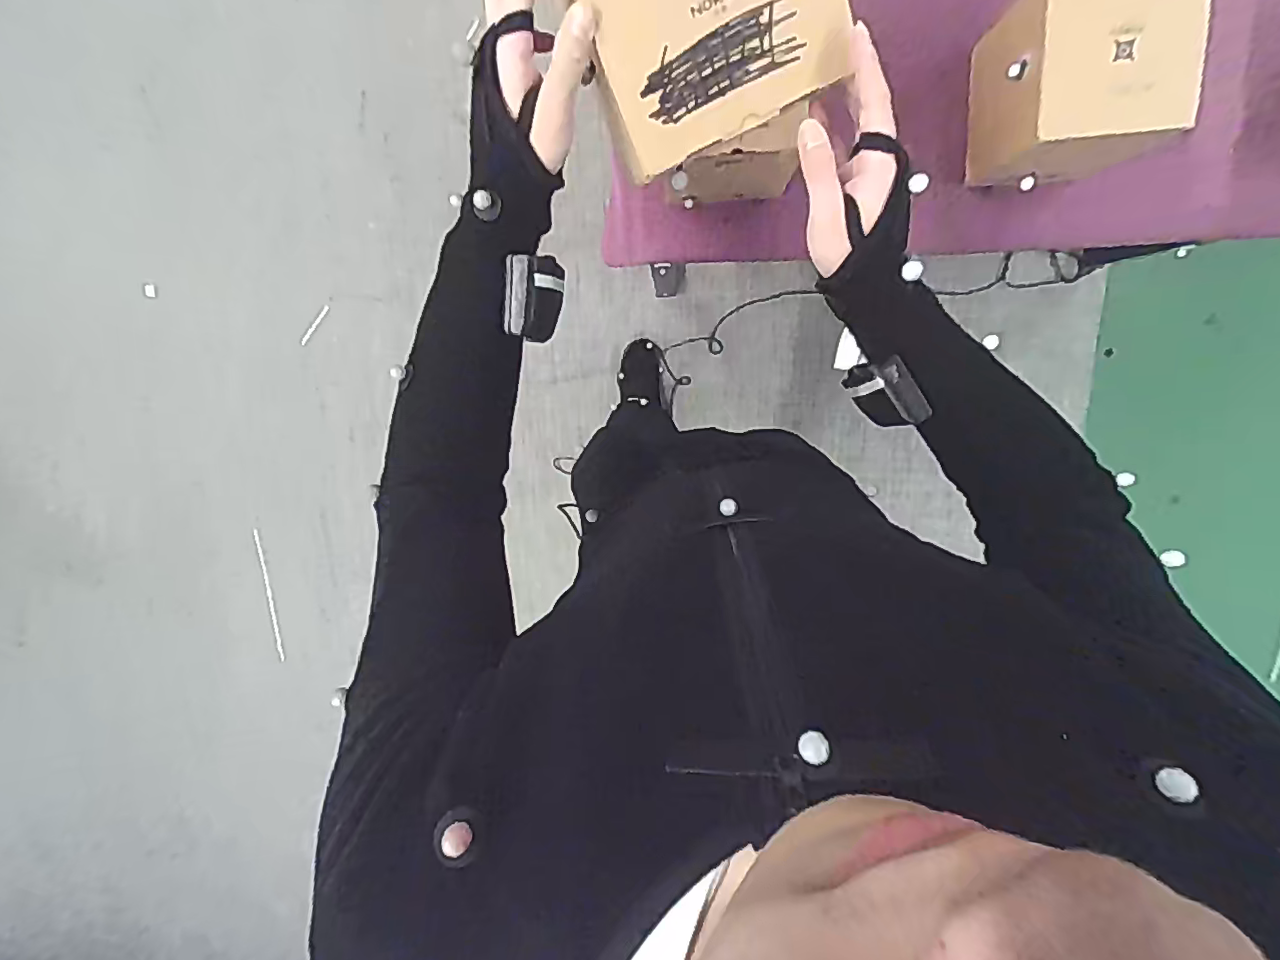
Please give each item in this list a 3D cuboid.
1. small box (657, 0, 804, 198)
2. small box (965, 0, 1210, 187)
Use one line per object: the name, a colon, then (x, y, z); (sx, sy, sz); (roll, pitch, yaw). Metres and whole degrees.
small box: (0.111, -0.479, 0.697); (0.168, 0.176, 0.179); (-2, 101, 5)
small box: (0.526, -0.485, 0.662); (0.168, 0.176, 0.179); (-1, 102, 6)
